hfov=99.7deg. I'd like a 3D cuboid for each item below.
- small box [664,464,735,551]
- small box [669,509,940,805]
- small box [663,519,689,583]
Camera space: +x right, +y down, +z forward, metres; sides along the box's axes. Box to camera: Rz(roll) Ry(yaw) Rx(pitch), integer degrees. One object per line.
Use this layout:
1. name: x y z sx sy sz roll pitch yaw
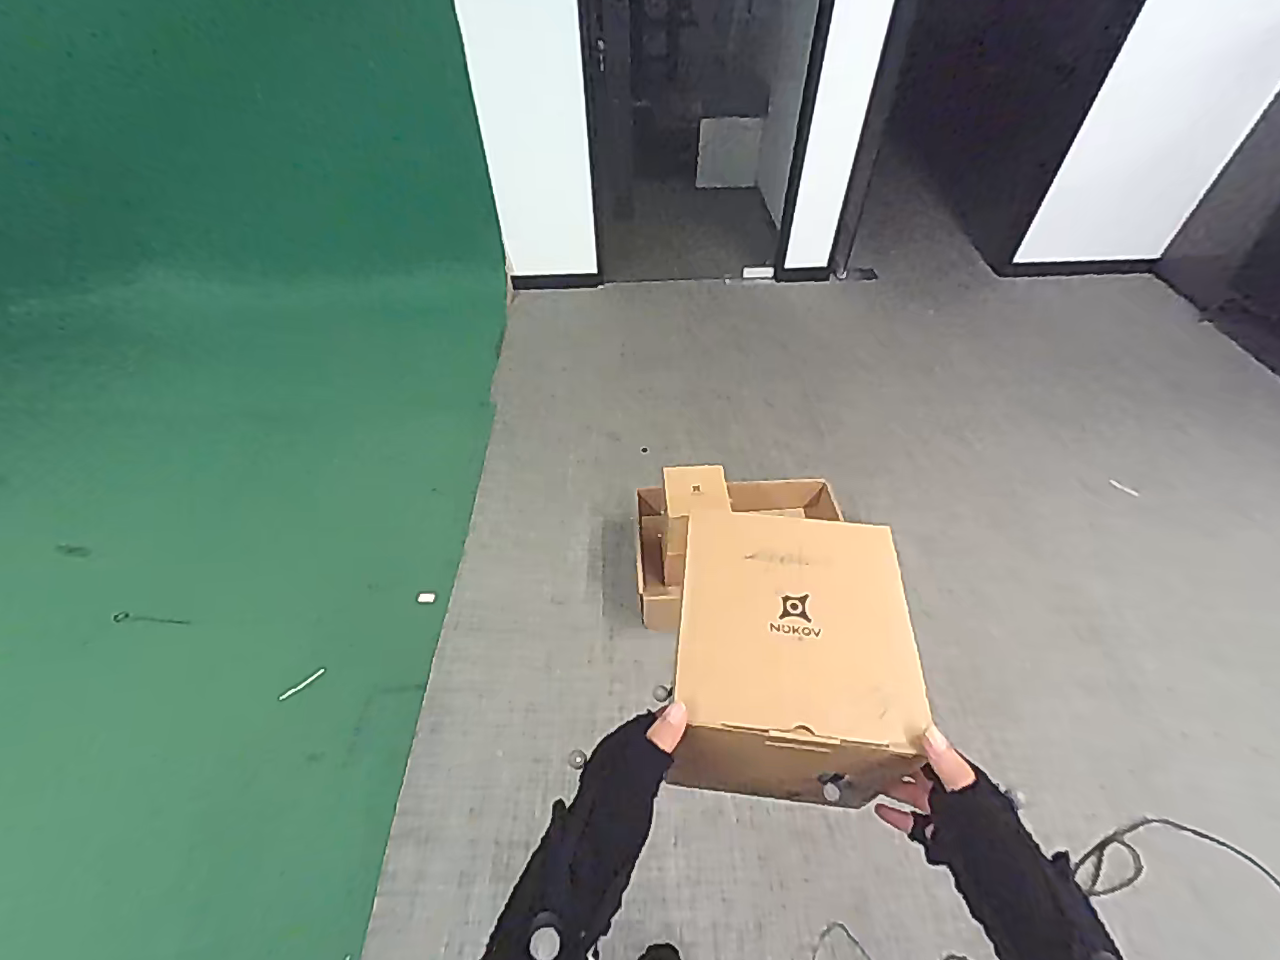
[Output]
1. small box: 0.156 0.075 1.479 0.168 0.176 0.179 -2 48 -2
2. small box: 0.114 0.149 0.447 0.168 0.176 0.179 6 49 5
3. small box: 0.156 0.186 1.598 0.168 0.176 0.179 -1 48 0
